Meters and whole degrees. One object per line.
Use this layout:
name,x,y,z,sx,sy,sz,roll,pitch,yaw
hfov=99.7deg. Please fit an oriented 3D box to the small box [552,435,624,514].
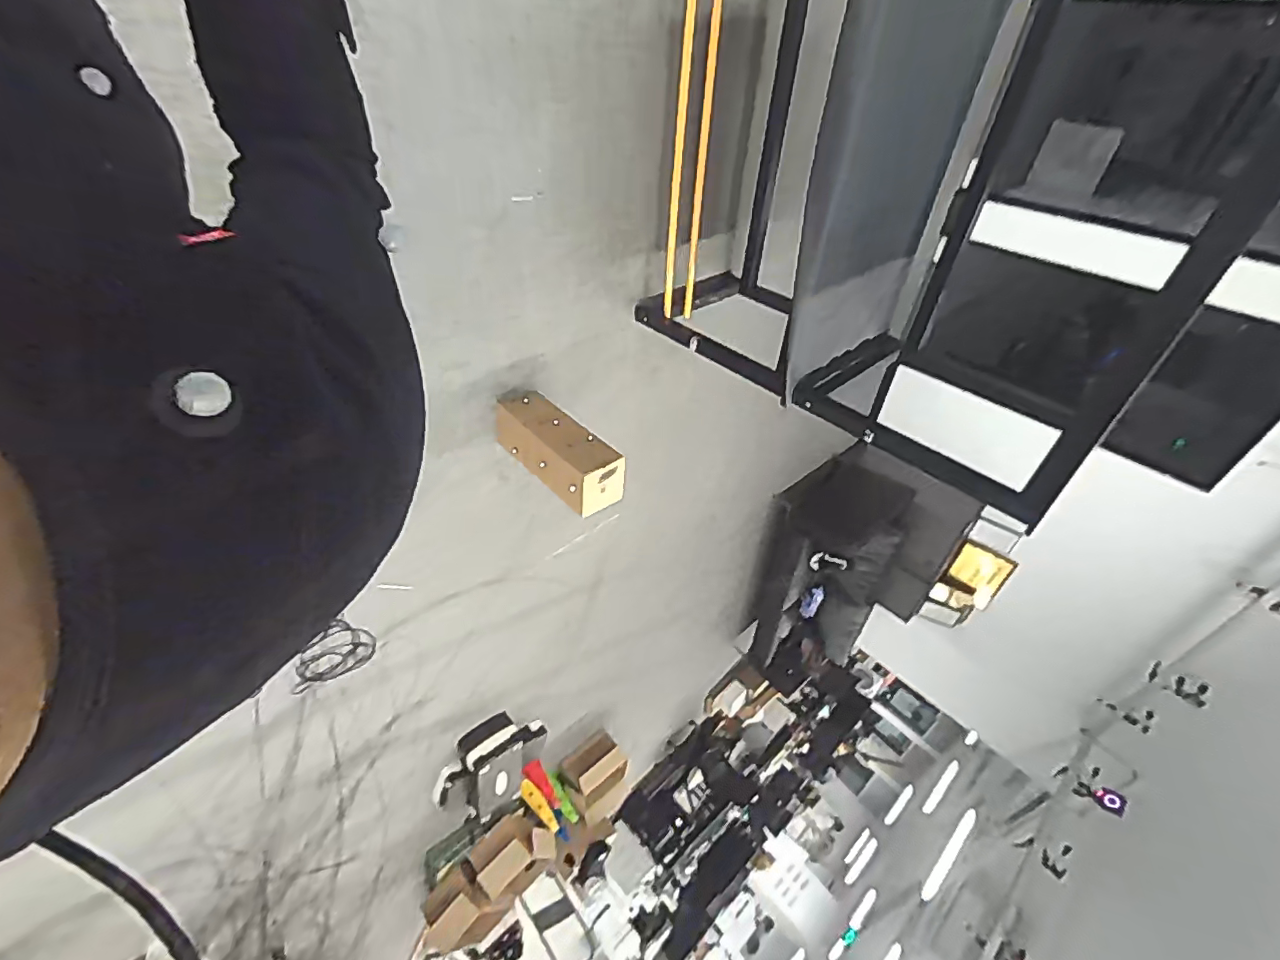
small box,-0.170,-0.027,1.737,0.168,0.176,0.179,-26,139,-34

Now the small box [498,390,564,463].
small box,-0.388,-0.194,1.913,0.168,0.176,0.179,-26,138,-36
